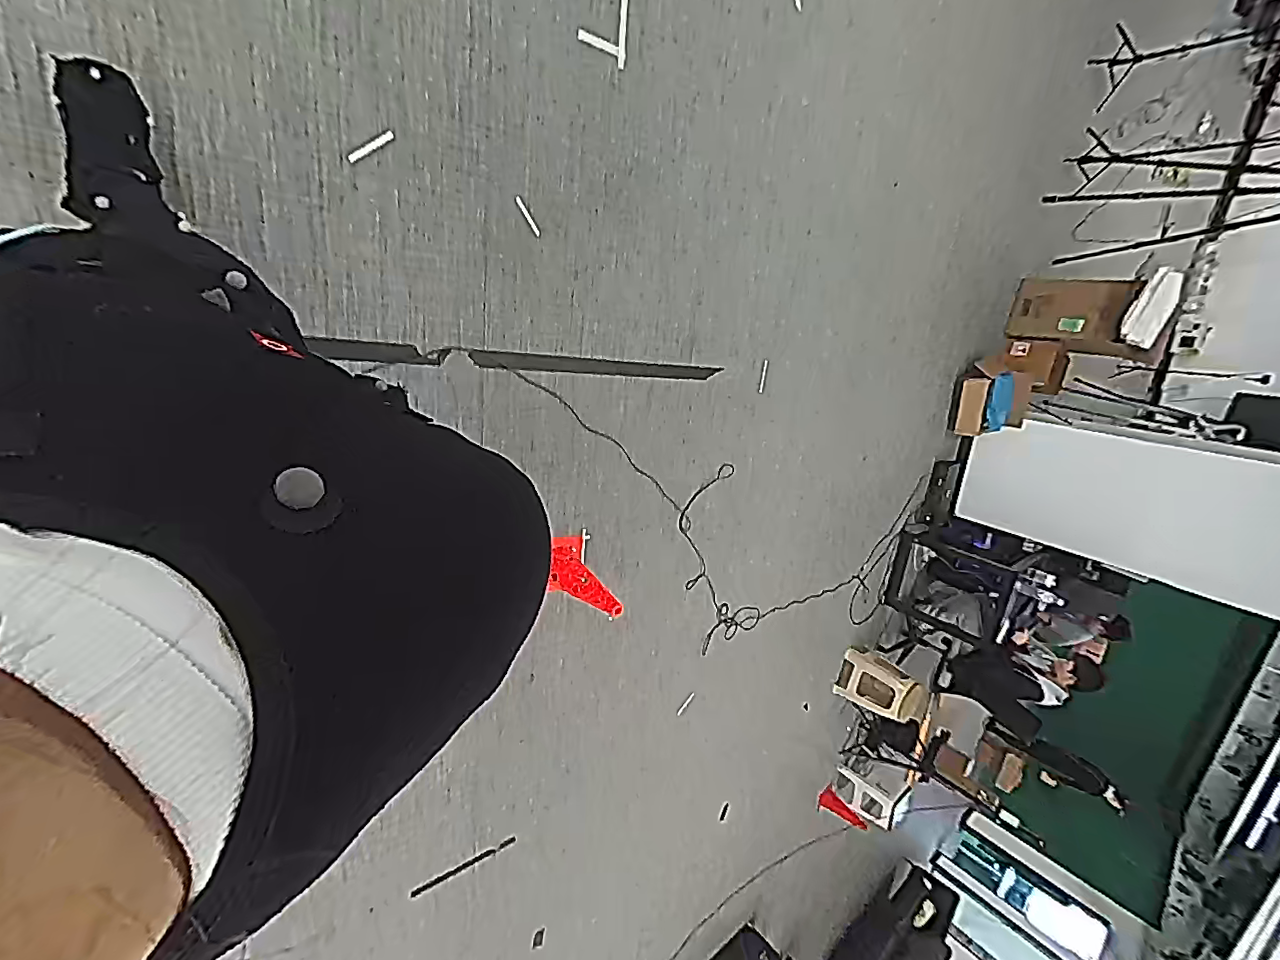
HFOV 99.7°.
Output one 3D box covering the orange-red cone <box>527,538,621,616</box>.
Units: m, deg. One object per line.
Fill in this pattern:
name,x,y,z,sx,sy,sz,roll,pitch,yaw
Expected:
orange-red cone,-0.182,0.339,1.728,0.199,0.360,0.198,3,104,-41
